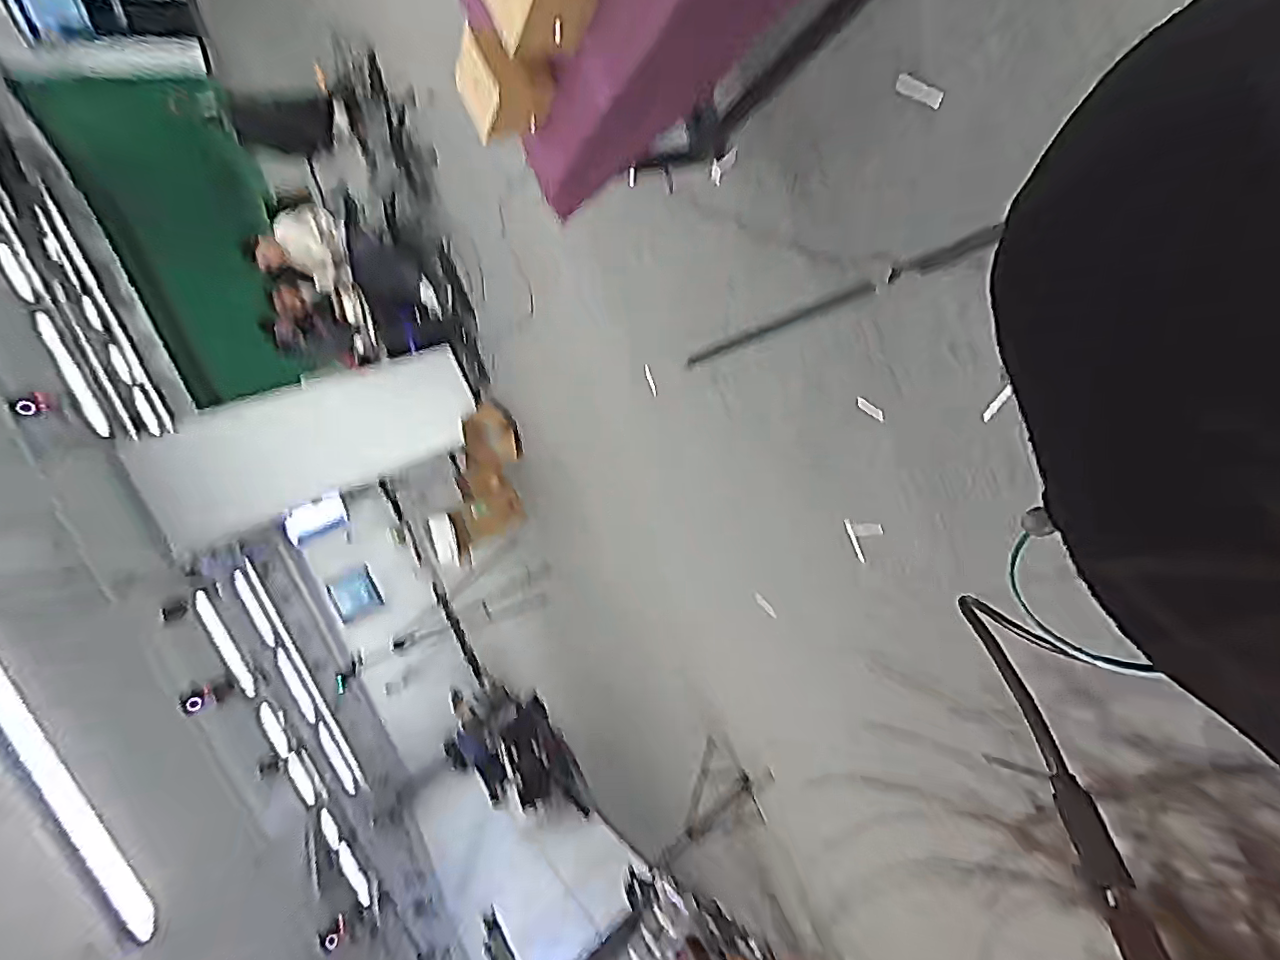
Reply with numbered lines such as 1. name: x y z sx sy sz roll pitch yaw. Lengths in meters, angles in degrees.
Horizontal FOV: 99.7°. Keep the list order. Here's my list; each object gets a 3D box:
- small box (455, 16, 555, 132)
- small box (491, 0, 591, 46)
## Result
1. small box: -0.347 -1.036 1.390 0.168 0.176 0.179 -16 100 60
2. small box: -0.216 -1.078 1.153 0.168 0.176 0.179 -12 103 59
